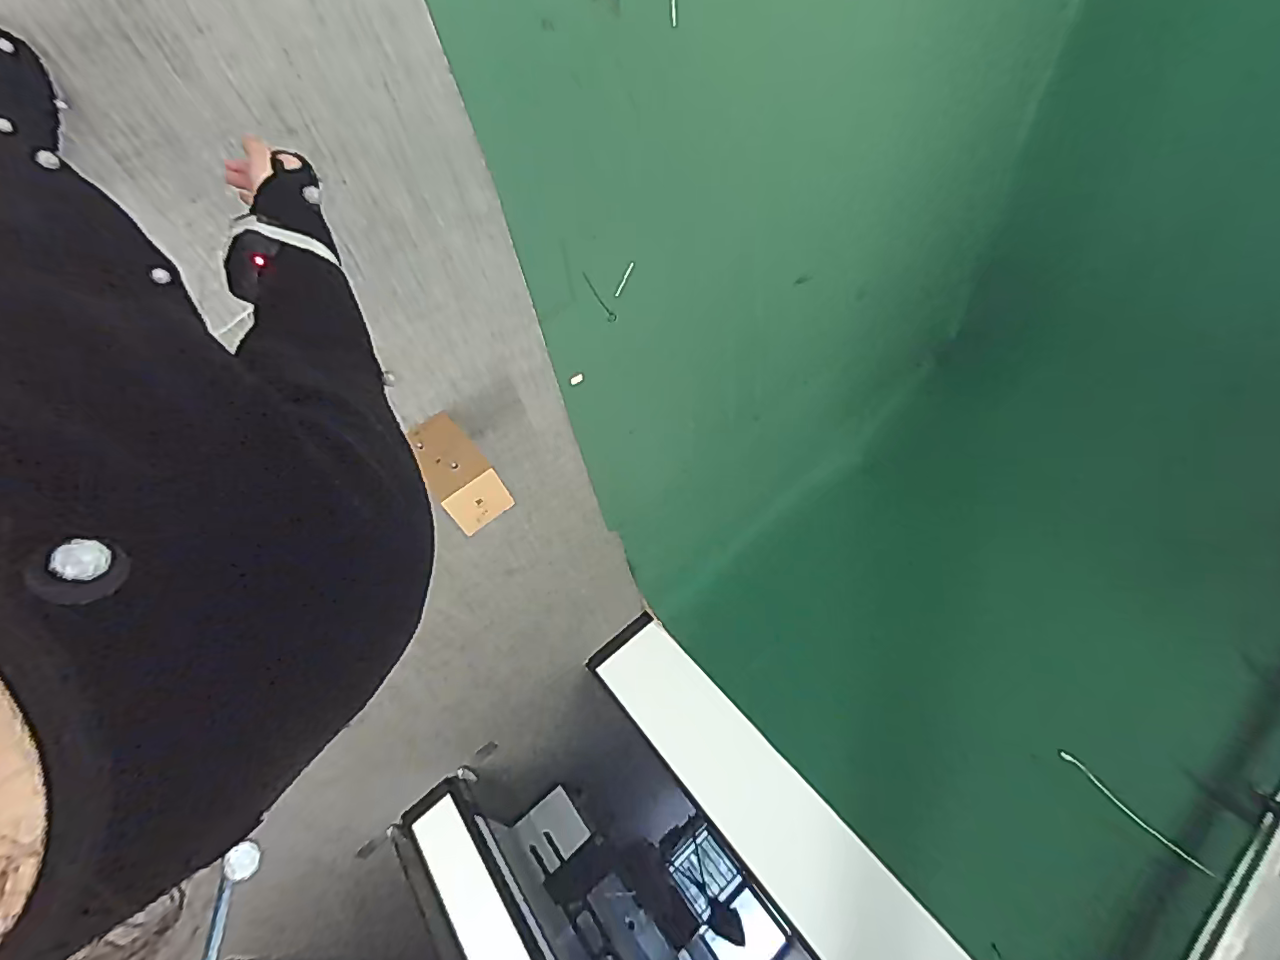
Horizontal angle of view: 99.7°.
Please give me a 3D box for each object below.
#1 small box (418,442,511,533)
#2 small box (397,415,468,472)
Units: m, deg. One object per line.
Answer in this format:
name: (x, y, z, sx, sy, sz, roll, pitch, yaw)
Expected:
small box: (-0.506, 0.012, 1.558, 0.168, 0.176, 0.179, -36, 144, -15)
small box: (-0.608, -0.075, 1.653, 0.168, 0.176, 0.179, -36, 144, -16)
